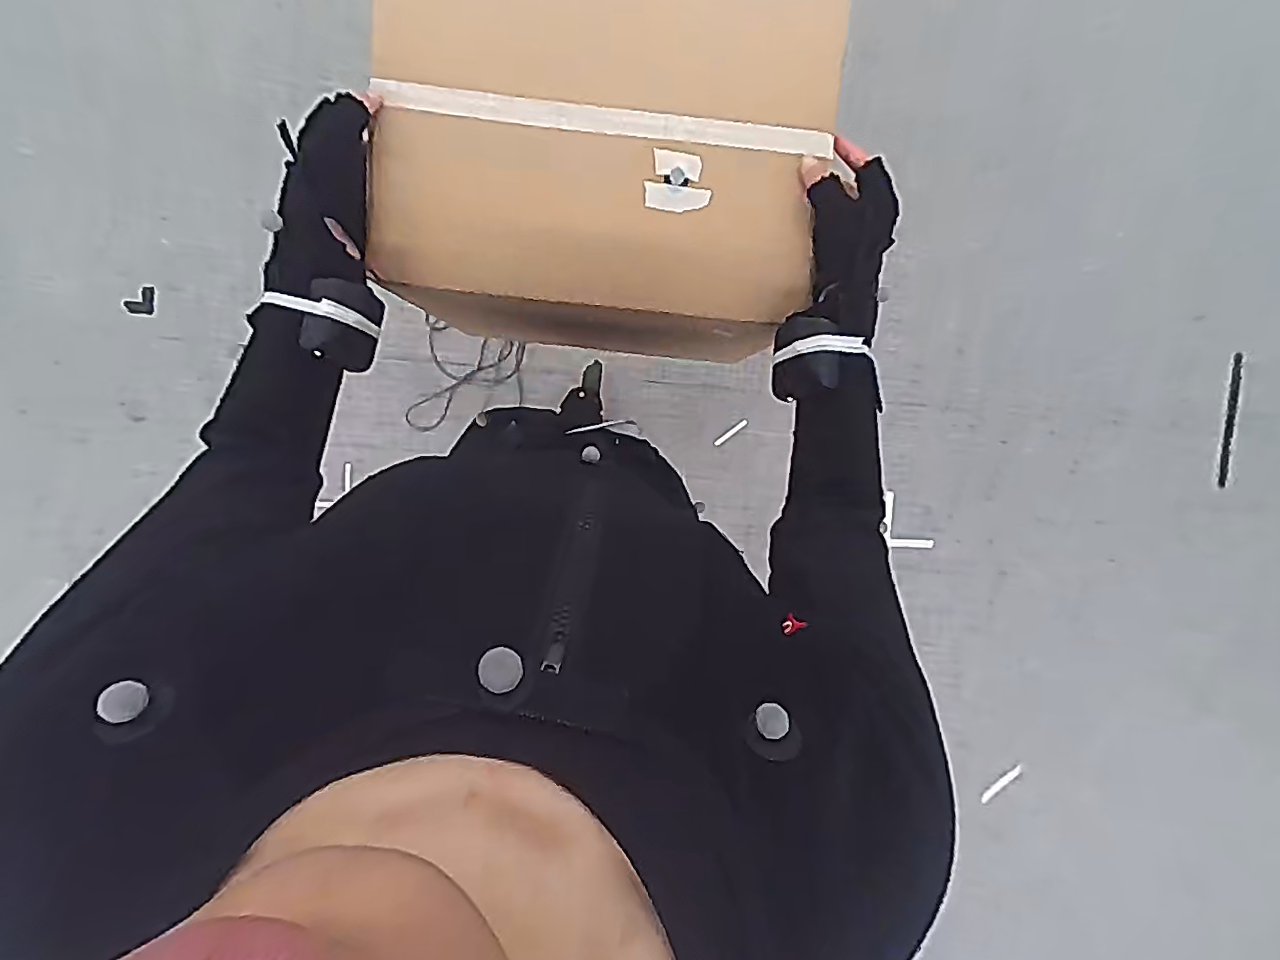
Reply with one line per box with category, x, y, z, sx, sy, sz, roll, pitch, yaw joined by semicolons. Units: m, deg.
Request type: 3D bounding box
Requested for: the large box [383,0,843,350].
large box;-0.034;-0.342;0.635;0.408;0.320;0.320;5;98;-3
